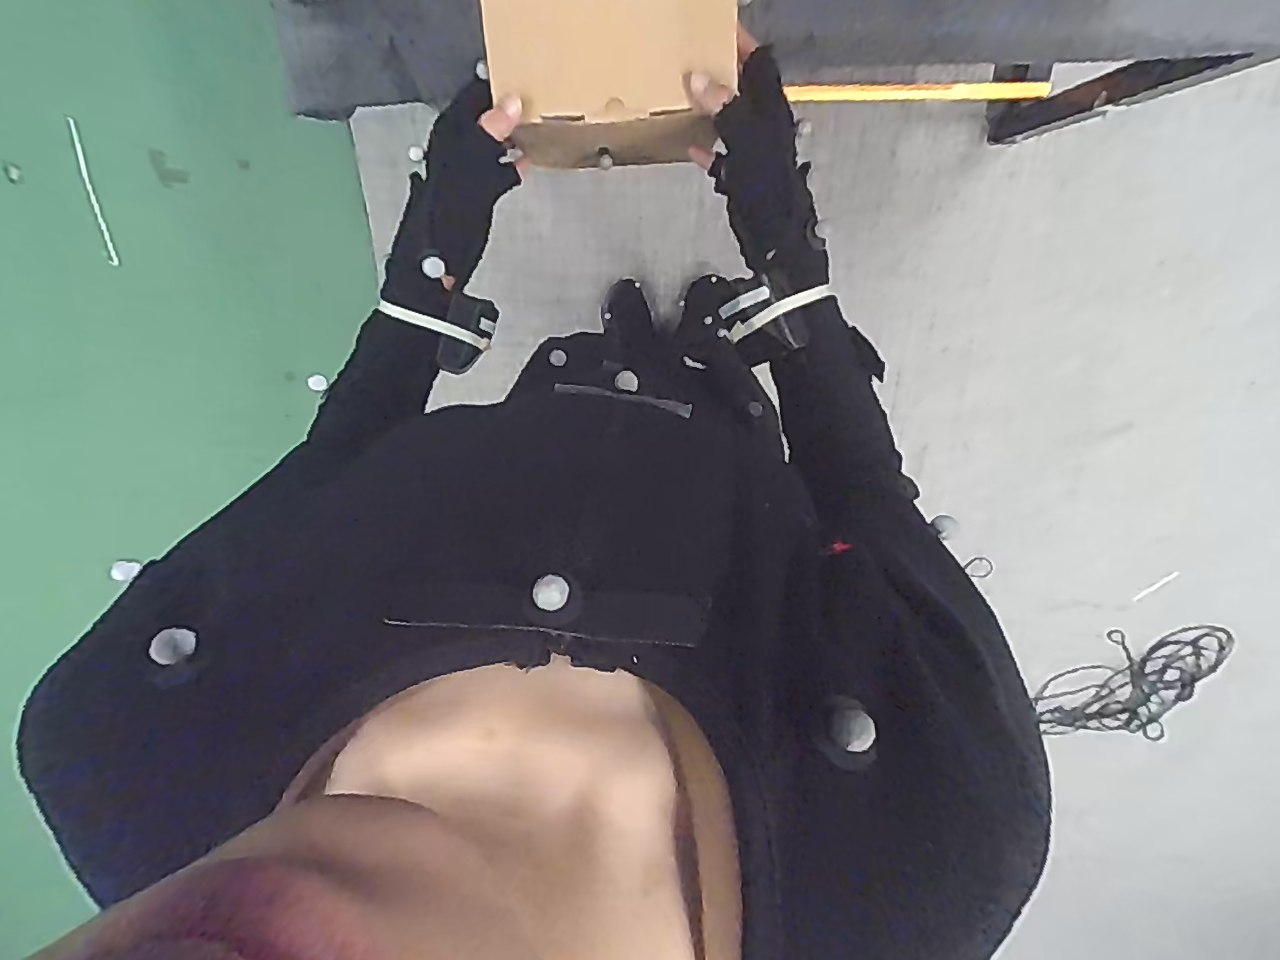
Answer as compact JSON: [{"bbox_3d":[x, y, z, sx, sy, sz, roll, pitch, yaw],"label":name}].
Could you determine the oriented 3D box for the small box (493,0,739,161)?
[{"bbox_3d":[-0.018,-0.369,0.422,0.168,0.176,0.179,-3,110,1],"label":"small box"}]
